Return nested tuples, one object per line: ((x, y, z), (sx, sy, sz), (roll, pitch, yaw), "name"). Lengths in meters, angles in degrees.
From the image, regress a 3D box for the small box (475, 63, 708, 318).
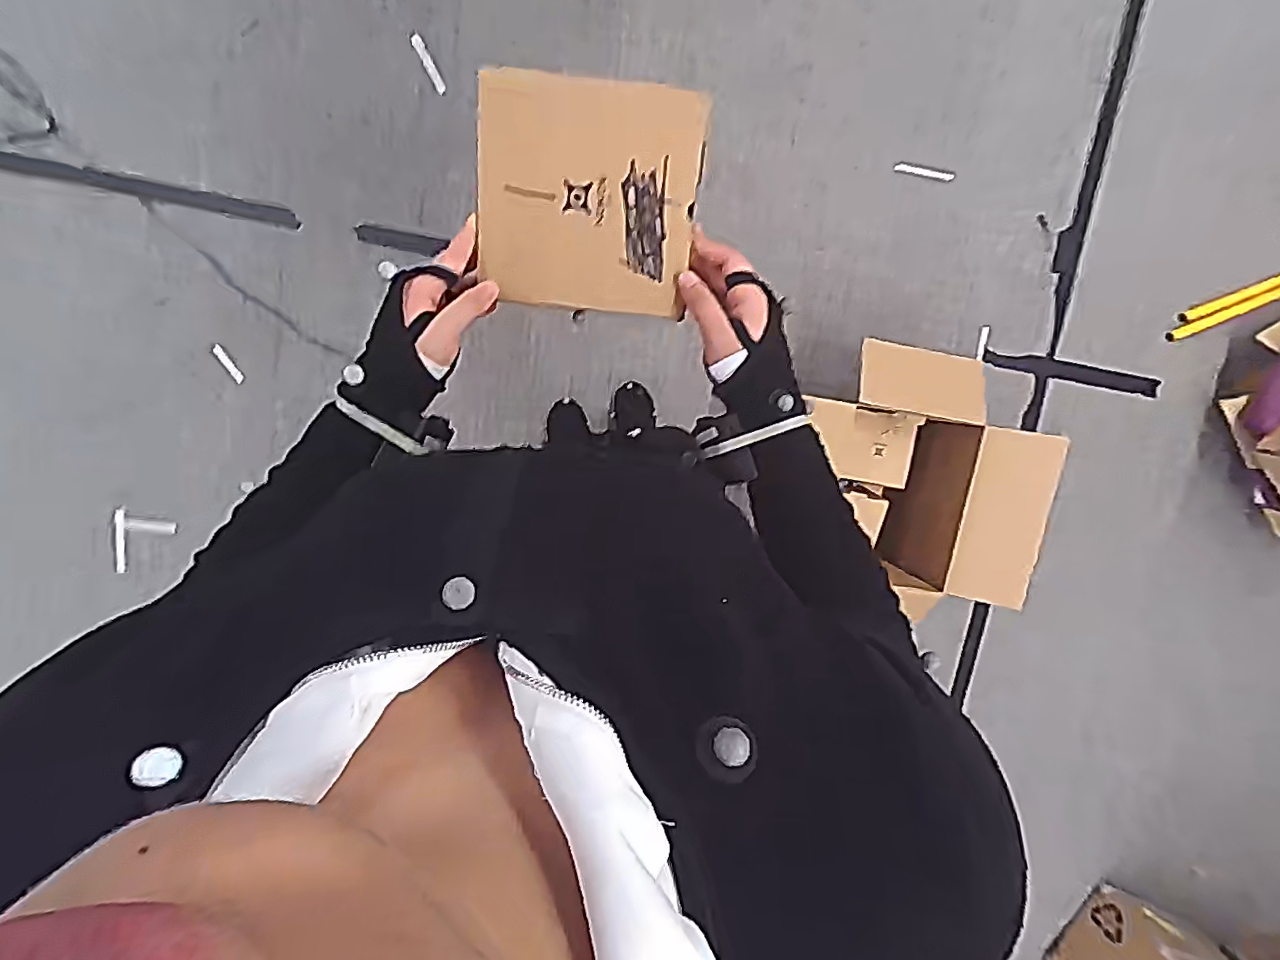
((-0.043, -0.249, 0.502), (0.179, 0.176, 0.168), (6, 109, -2), "small box")
